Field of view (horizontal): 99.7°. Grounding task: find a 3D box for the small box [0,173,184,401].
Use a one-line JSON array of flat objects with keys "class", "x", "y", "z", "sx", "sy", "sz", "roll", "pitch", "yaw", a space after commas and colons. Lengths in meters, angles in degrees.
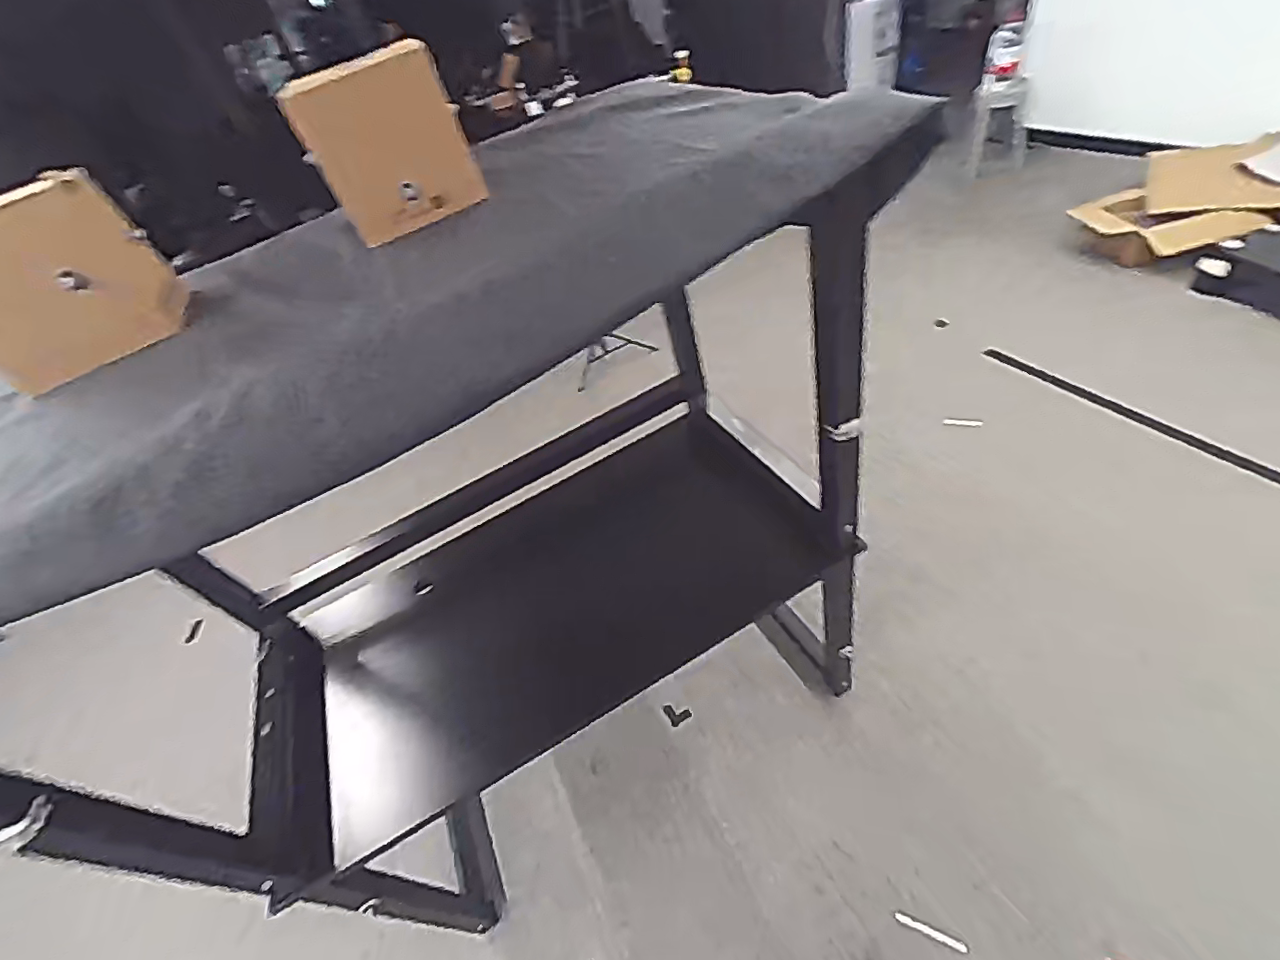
[{"class": "small box", "x": -0.686, "y": -0.225, "z": 0.631, "sx": 0.179, "sy": 0.176, "sz": 0.168, "roll": -31, "pitch": 45, "yaw": -12}]
